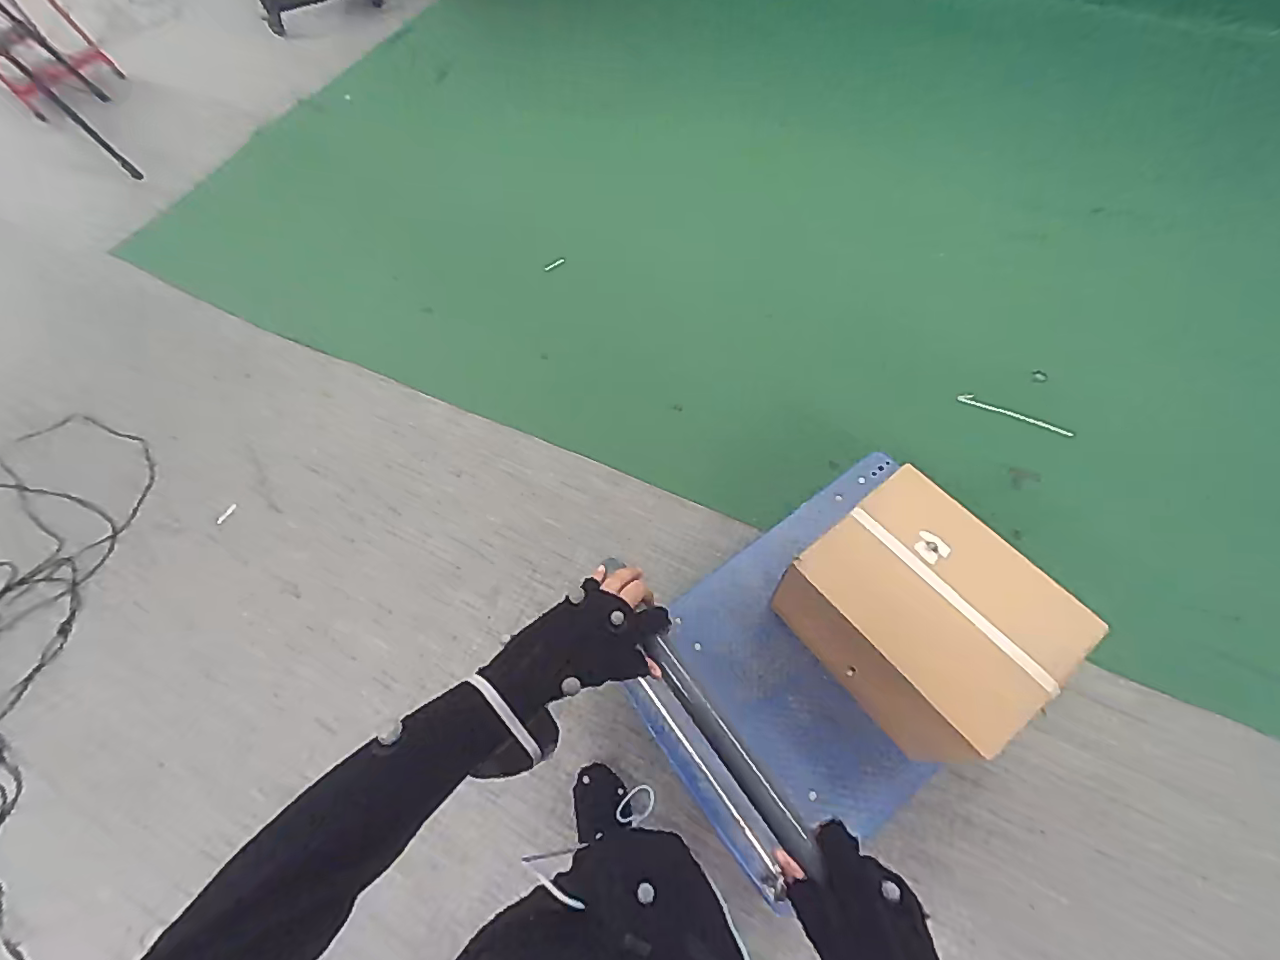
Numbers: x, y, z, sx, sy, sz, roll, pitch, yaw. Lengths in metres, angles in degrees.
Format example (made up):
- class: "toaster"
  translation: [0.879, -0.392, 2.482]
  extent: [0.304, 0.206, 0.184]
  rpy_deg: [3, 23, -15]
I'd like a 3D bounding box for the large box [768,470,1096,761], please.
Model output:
- class: "large box"
  translation: [0.510, 0.267, 1.044]
  extent: [0.320, 0.320, 0.408]
  rpy_deg: [-36, 64, -14]
